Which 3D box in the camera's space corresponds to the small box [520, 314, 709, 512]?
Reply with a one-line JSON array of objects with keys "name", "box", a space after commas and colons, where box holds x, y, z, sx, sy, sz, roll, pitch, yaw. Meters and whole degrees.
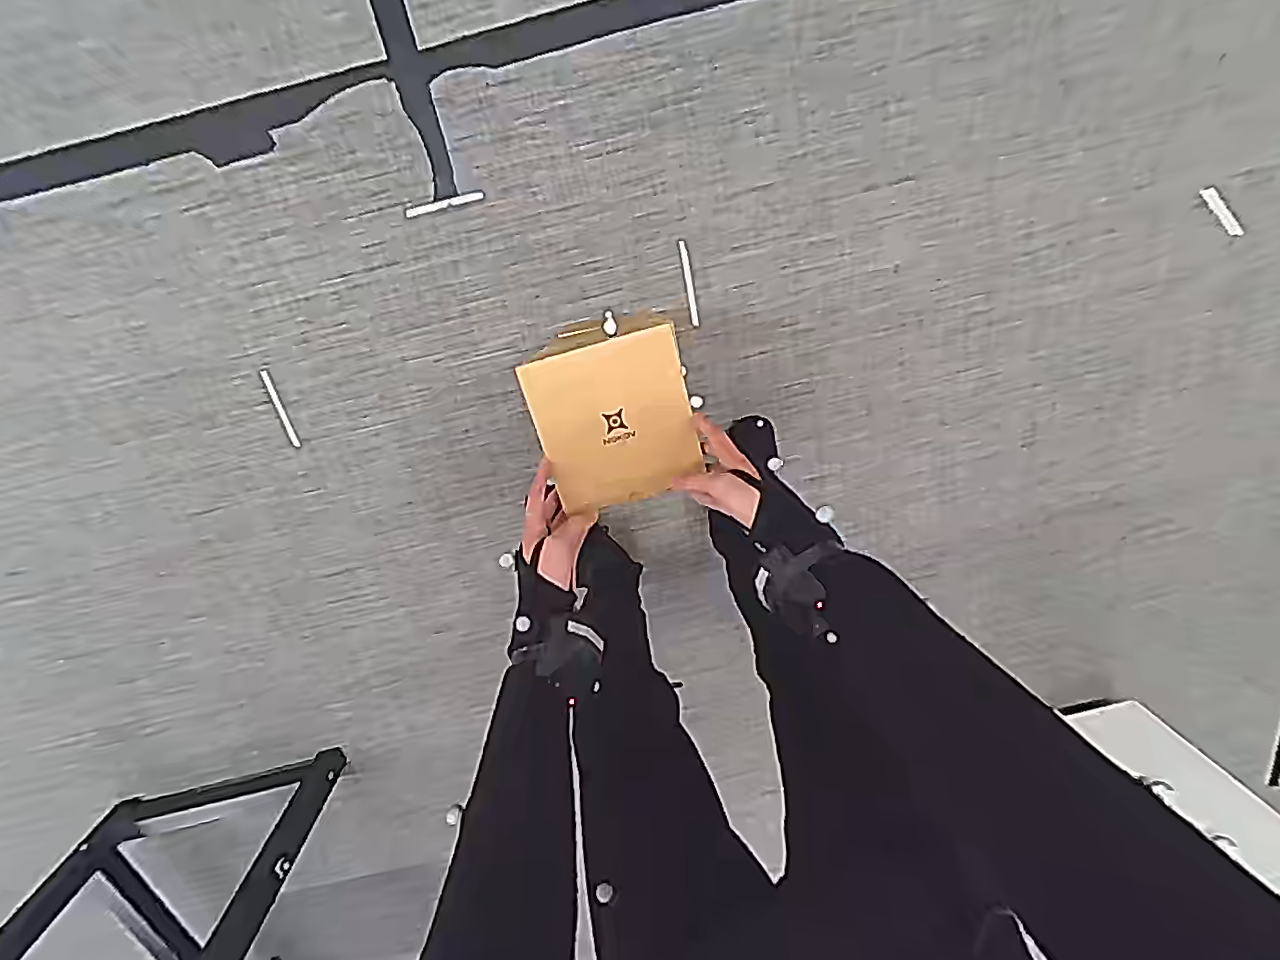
[{"name": "small box", "box": [-0.029, -0.089, 0.640, 0.168, 0.176, 0.179, -16, 109, 2]}]
